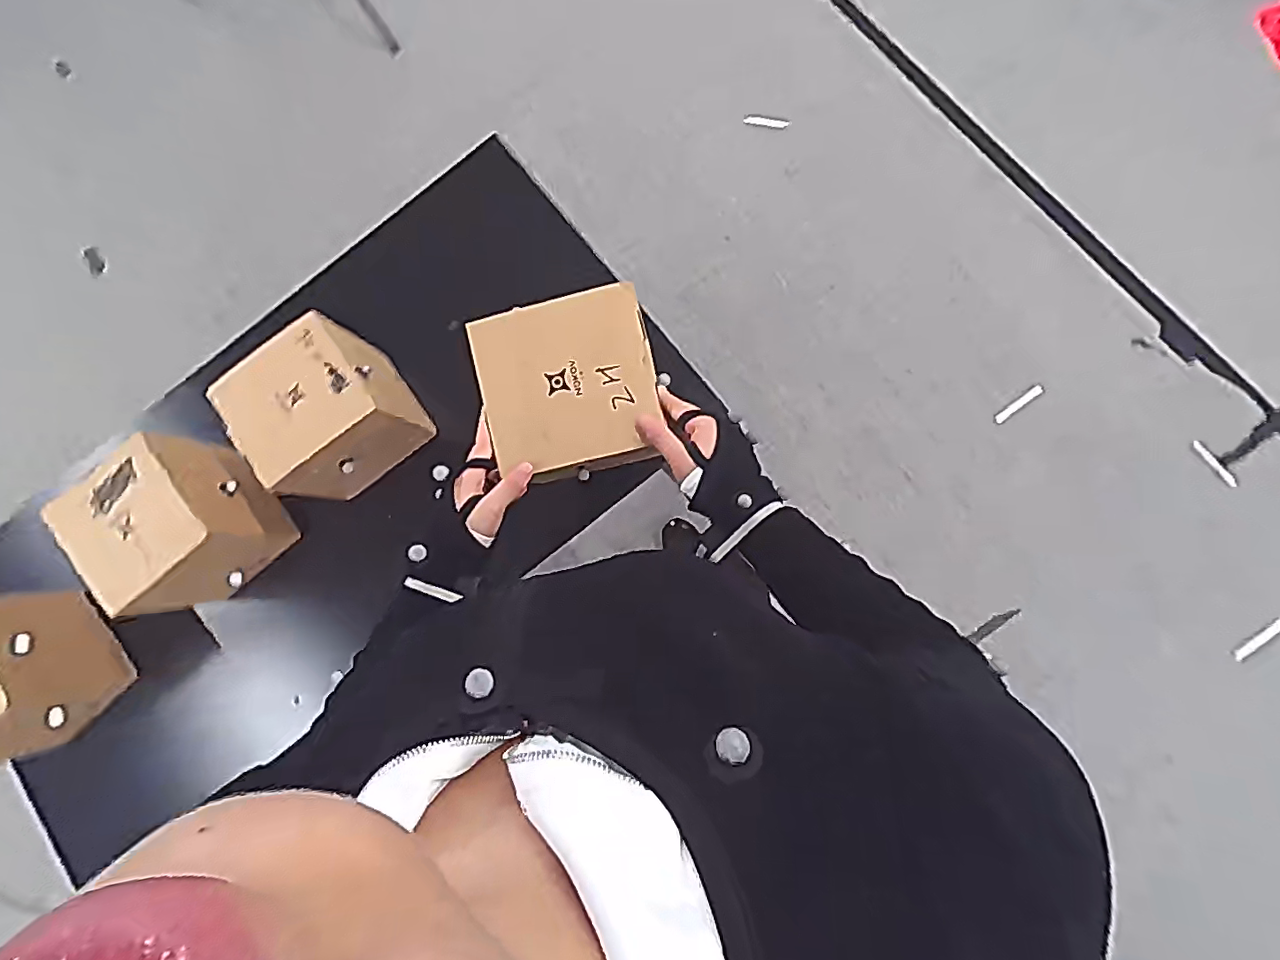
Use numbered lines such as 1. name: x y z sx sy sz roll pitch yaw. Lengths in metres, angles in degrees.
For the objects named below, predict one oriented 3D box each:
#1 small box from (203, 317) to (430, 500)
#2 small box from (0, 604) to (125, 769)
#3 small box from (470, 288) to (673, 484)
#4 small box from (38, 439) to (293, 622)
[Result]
1. small box: -0.437 -0.085 0.757 0.179 0.176 0.168 -37 82 1
2. small box: -0.894 0.292 0.753 0.168 0.176 0.179 -42 81 -2
3. small box: -0.064 -0.090 0.608 0.179 0.176 0.168 -12 89 4
4. small box: -0.645 0.071 0.756 0.168 0.176 0.179 -40 83 0
